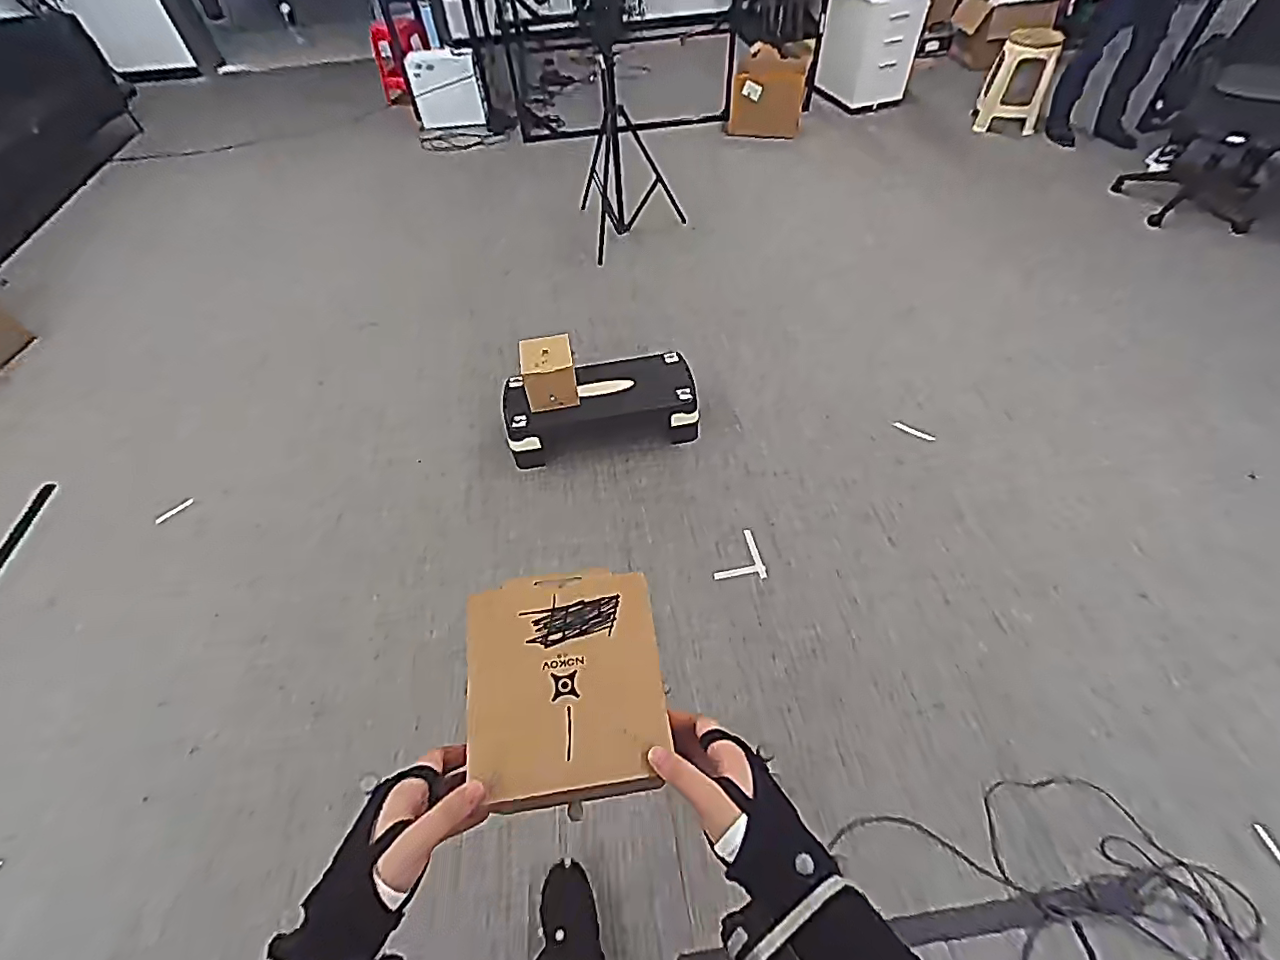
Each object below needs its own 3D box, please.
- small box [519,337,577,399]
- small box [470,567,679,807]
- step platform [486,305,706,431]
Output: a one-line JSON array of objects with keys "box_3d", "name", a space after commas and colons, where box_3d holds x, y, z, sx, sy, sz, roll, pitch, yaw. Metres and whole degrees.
[{"box_3d": [-0.305, -0.351, 1.808, 0.168, 0.176, 0.179, -10, 52, -4], "name": "small box"}, {"box_3d": [-0.065, 0.206, 0.532, 0.168, 0.176, 0.179, -6, 58, -7], "name": "small box"}, {"box_3d": [-0.137, -0.363, 1.763, 0.684, 0.204, 0.286, -10, 52, -5], "name": "step platform"}]
